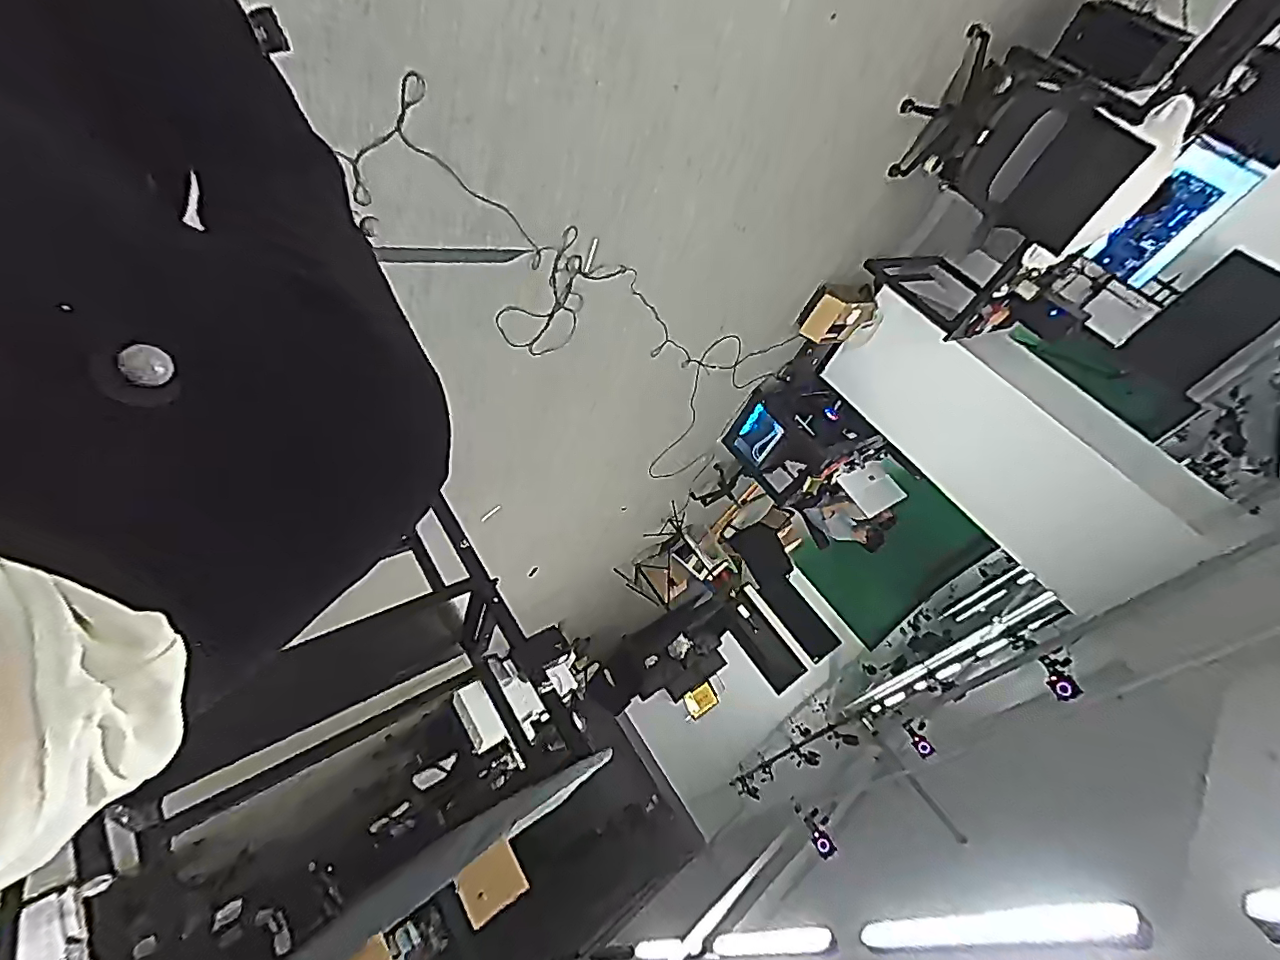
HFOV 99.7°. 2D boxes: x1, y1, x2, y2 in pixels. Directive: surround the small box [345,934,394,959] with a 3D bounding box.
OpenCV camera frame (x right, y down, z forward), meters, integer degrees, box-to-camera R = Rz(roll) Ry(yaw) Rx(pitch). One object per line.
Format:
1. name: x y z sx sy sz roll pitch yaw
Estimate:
1. small box: -0.780 1.431 1.527 0.168 0.176 0.179 -20 151 -37
